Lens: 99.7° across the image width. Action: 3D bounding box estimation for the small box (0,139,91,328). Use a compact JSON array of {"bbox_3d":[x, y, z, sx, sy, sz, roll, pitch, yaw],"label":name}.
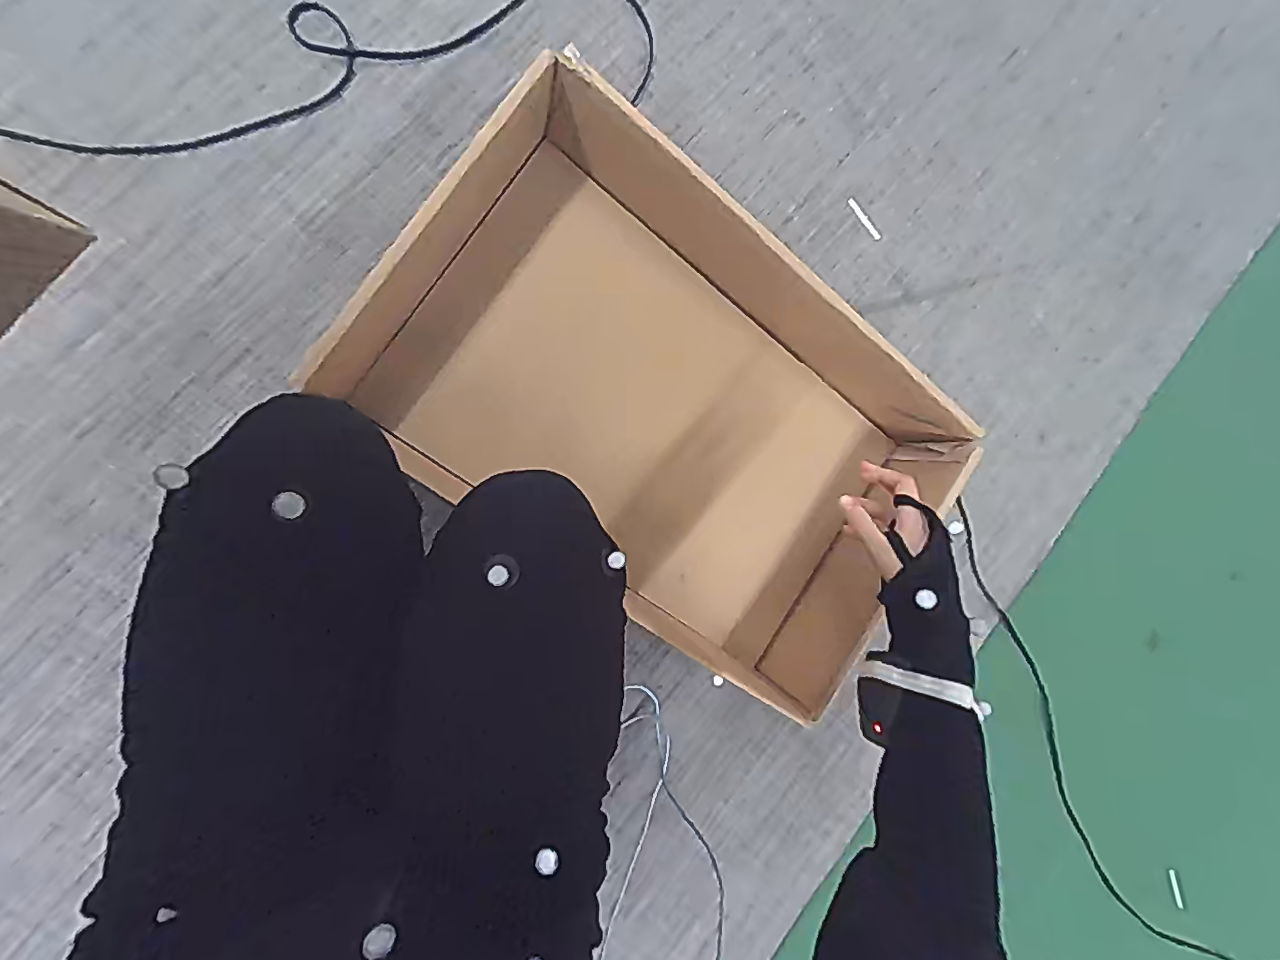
[{"bbox_3d":[-0.285,-0.074,0.116,0.168,0.179,0.176,43,79,-36],"label":"small box"}]
